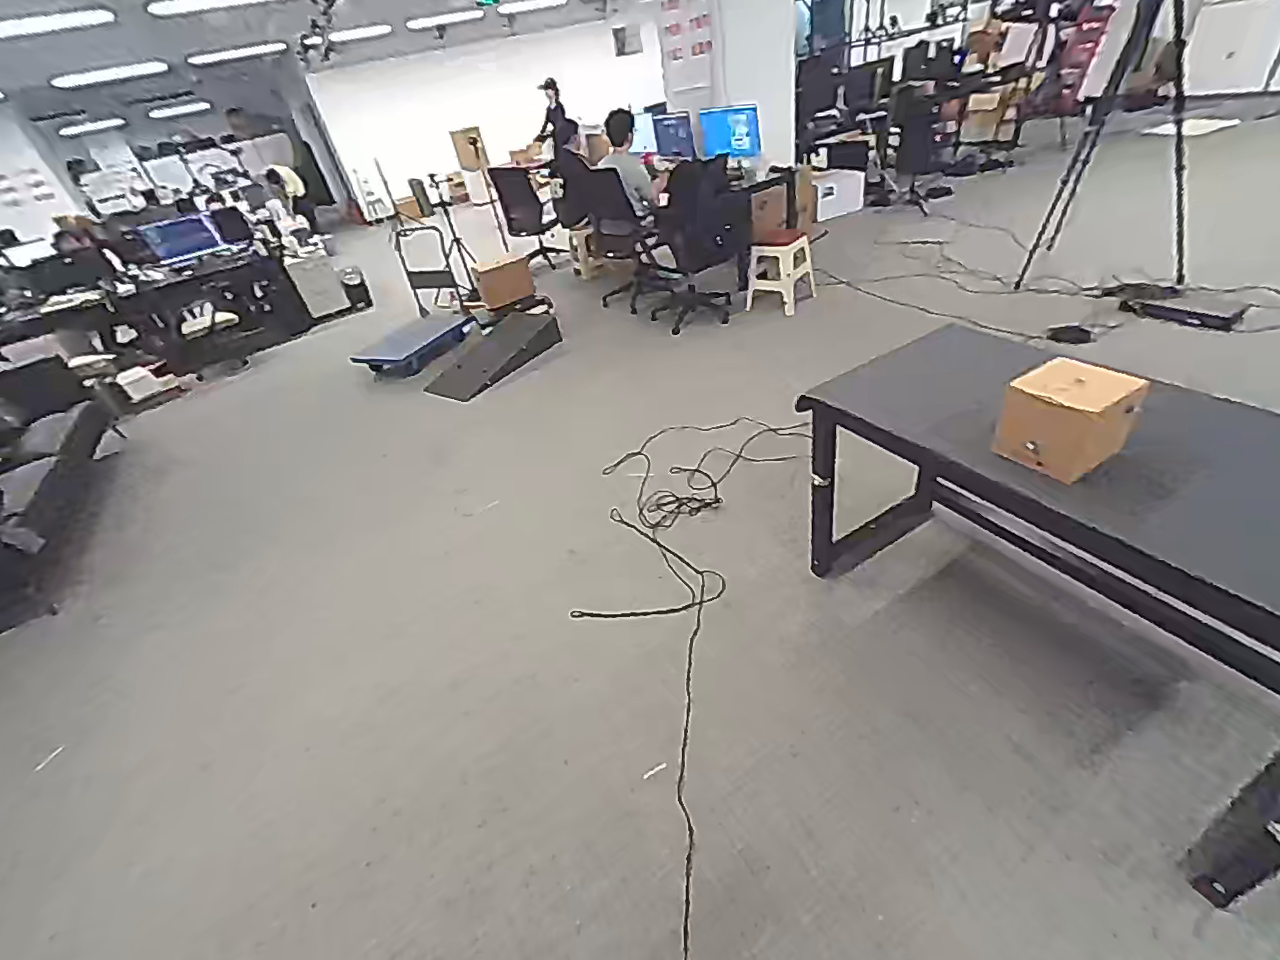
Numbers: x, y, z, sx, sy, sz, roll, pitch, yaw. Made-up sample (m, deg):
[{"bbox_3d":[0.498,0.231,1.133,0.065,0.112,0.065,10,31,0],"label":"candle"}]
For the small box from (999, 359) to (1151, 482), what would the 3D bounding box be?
[{"bbox_3d":[0.882,-0.124,1.116,0.179,0.176,0.168,-25,37,-17],"label":"small box"}]
